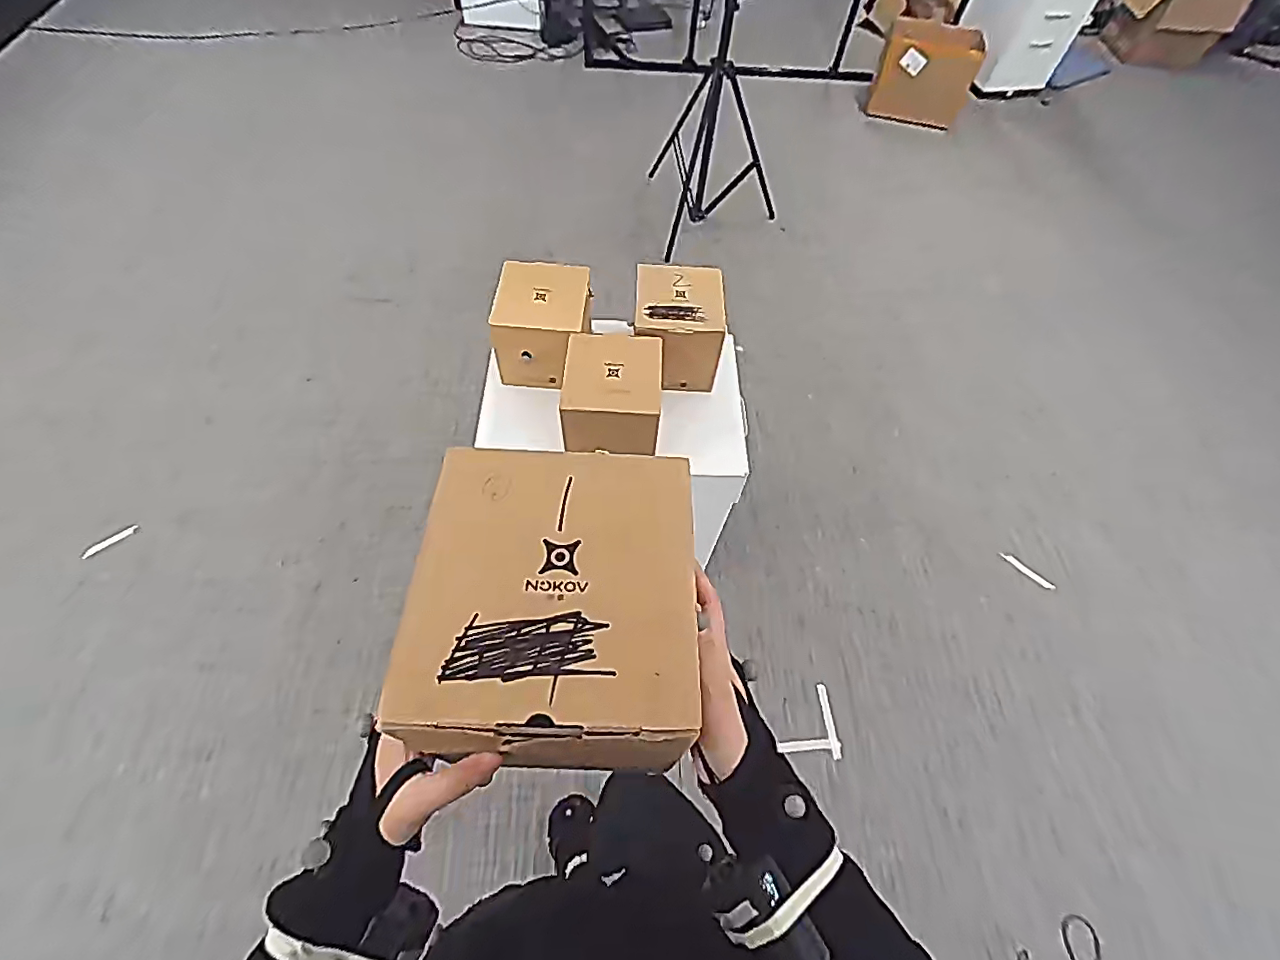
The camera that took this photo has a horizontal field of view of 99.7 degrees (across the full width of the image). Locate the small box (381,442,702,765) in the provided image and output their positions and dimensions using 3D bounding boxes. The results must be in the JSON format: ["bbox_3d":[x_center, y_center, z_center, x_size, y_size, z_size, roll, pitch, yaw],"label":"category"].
[{"bbox_3d":[-0.050,0.095,0.381,0.168,0.176,0.179,3,55,-2],"label":"small box"}]

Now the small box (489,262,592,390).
[{"bbox_3d":[-0.184,-0.296,1.057,0.168,0.176,0.179,4,59,-2],"label":"small box"}]
